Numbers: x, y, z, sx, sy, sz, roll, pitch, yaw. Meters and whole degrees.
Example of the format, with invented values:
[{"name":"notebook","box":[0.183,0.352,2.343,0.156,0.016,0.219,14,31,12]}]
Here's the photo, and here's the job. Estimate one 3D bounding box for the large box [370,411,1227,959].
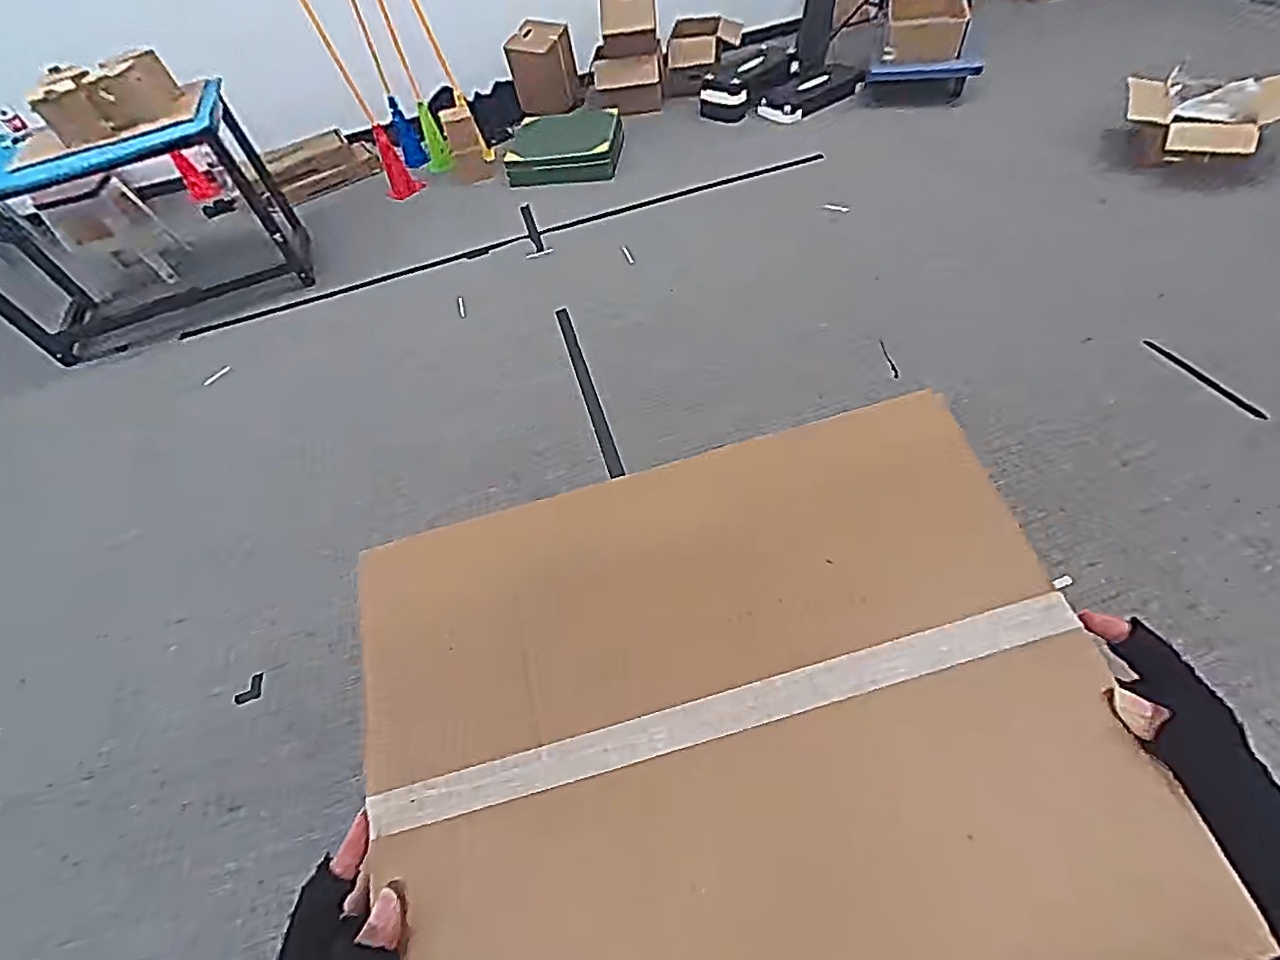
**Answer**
[{"name":"large box","box":[0.063,0.200,0.442,0.408,0.320,0.320,-17,64,-1]}]
